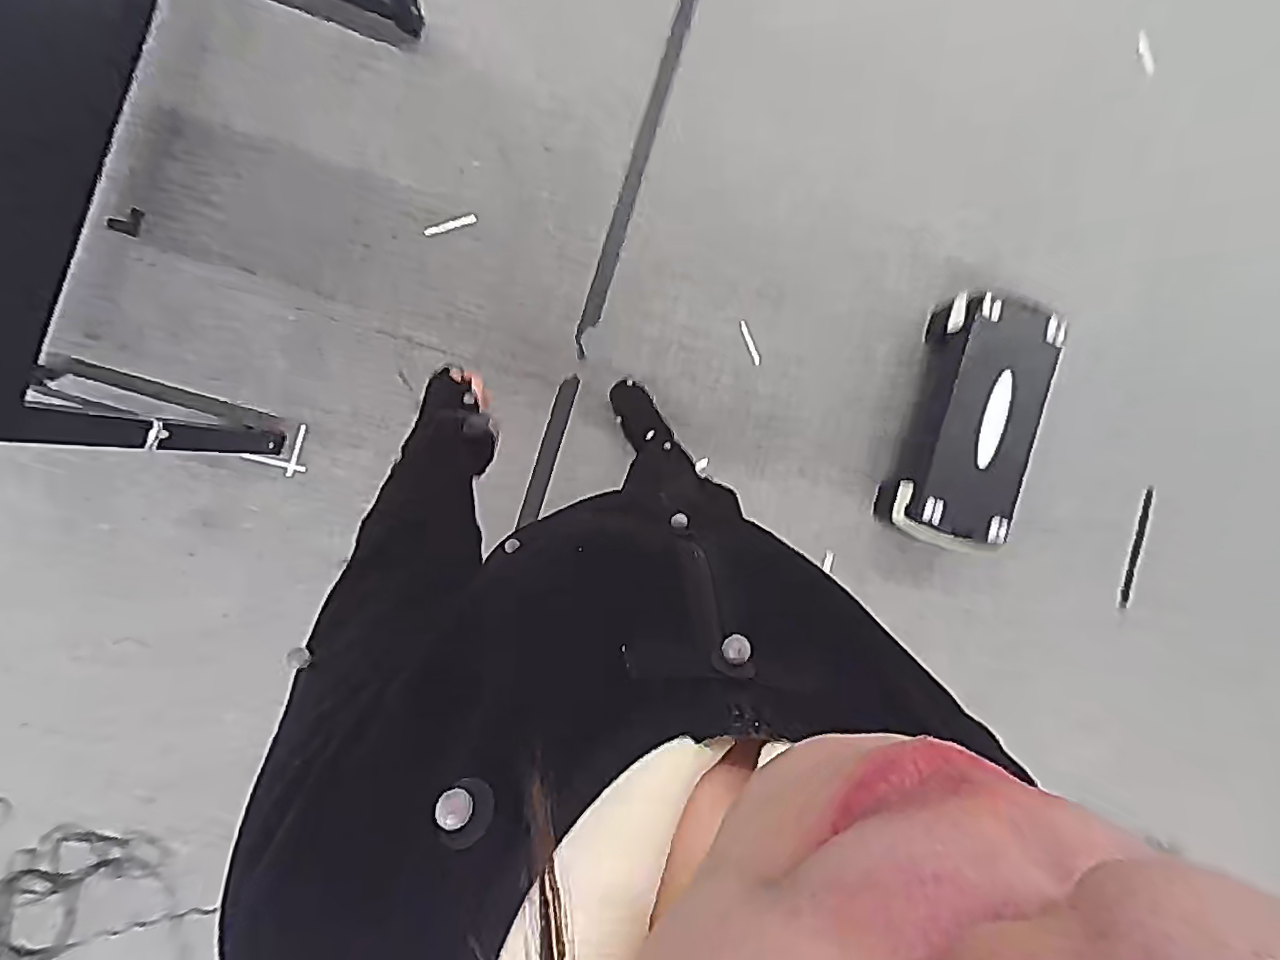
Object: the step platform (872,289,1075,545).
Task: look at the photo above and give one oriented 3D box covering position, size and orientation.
[{"bbox_3d":[0.928,-0.168,1.508,0.286,0.204,0.684,23,86,-7],"label":"step platform"}]
